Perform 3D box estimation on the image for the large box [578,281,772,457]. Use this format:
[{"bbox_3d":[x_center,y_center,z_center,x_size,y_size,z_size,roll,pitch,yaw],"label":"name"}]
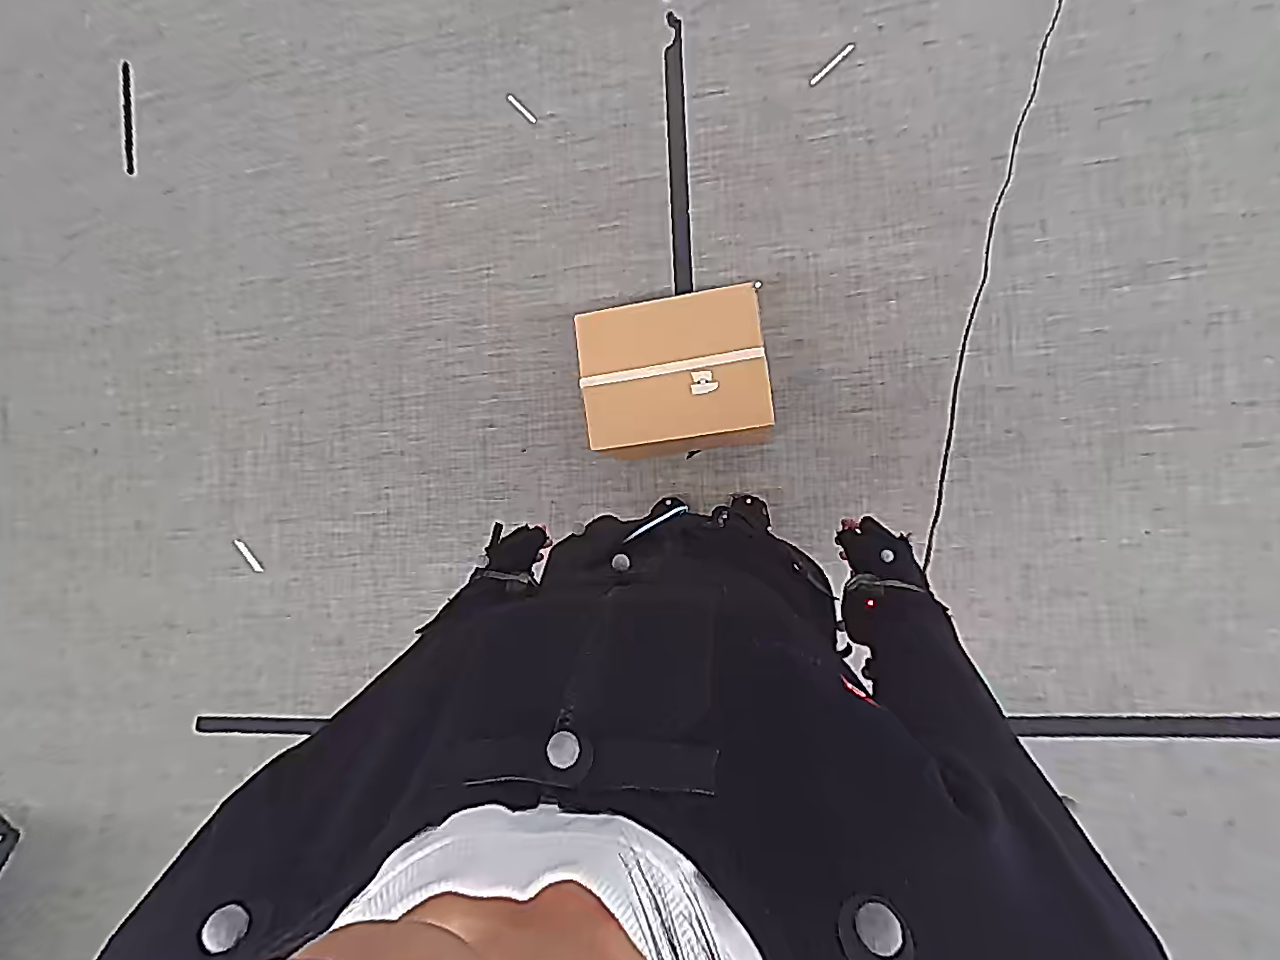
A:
[{"bbox_3d":[0.095,-0.247,1.338,0.408,0.320,0.320,-8,87,10],"label":"large box"}]
